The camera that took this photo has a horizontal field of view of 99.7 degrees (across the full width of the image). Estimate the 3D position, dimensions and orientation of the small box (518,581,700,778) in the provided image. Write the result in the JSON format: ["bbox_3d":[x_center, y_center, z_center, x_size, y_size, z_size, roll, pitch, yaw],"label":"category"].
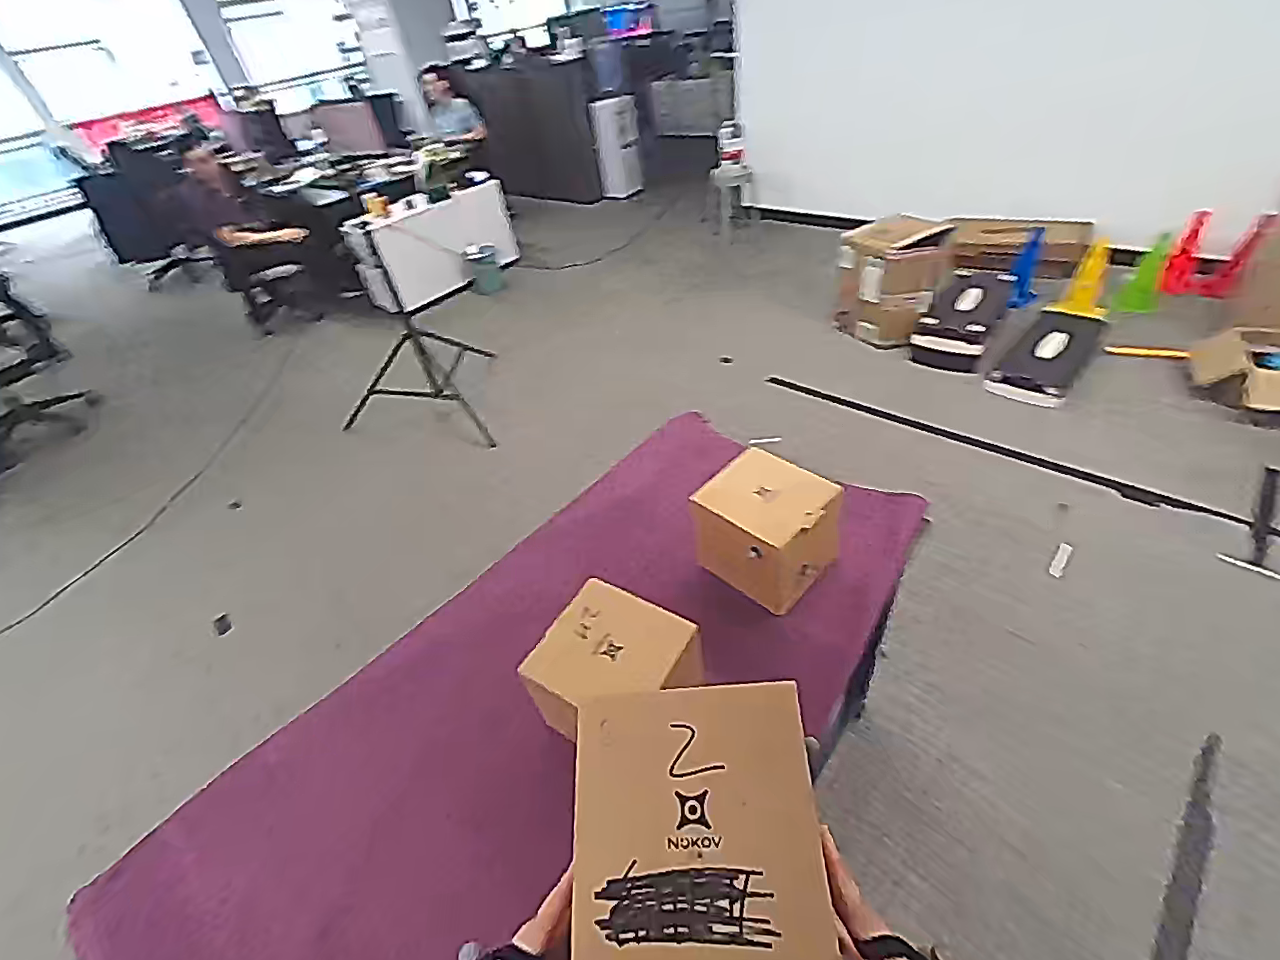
[{"bbox_3d":[-0.030,0.276,0.744,0.179,0.176,0.168,17,49,29],"label":"small box"}]

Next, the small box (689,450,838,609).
[{"bbox_3d":[0.205,0.082,0.907,0.168,0.176,0.179,-38,47,-27],"label":"small box"}]
